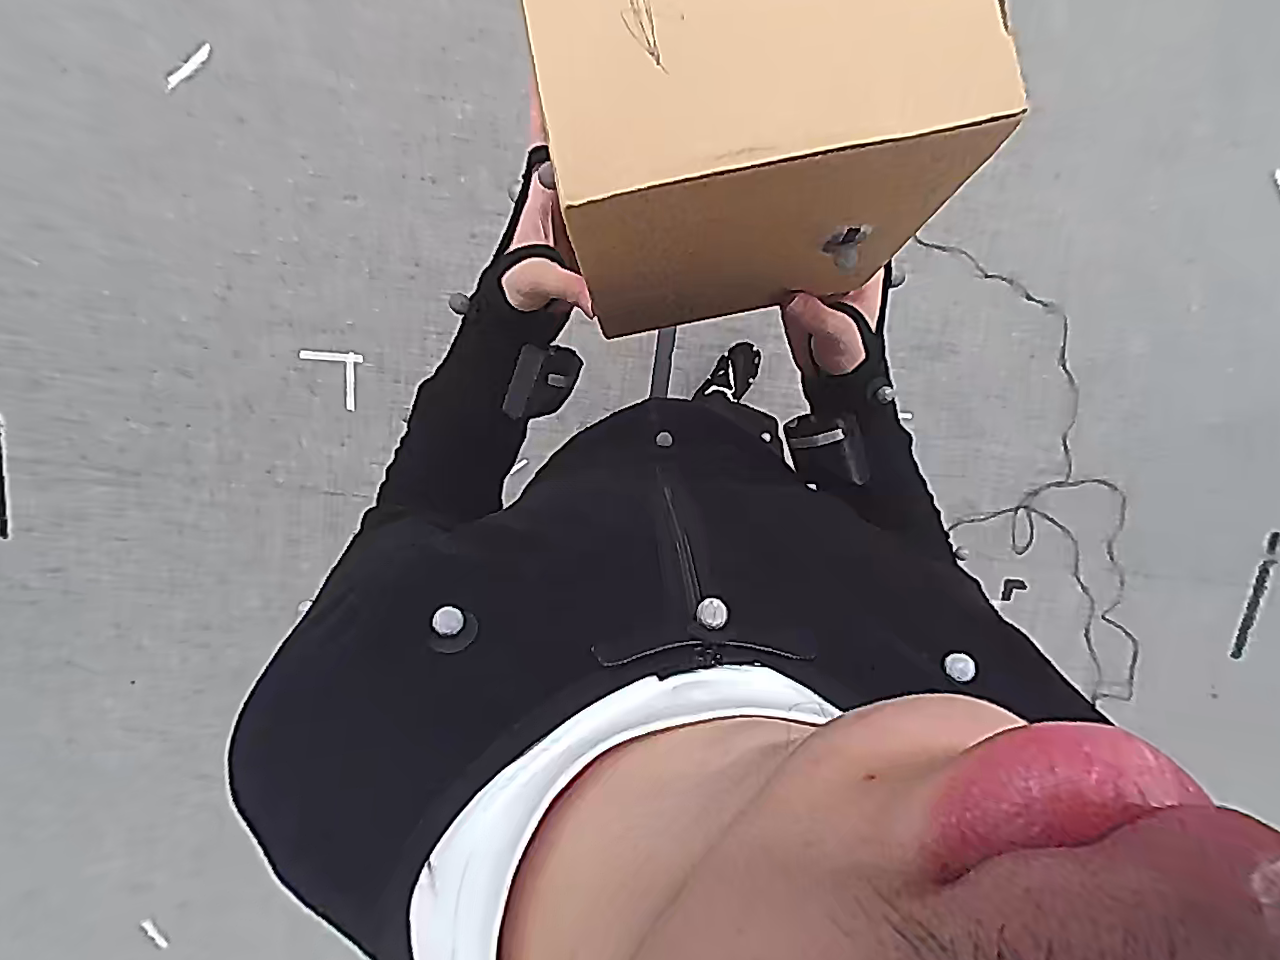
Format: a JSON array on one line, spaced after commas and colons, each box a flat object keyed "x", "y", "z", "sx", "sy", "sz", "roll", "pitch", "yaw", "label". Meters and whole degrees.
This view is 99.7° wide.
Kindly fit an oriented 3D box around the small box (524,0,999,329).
[{"x": 0.042, "y": -0.198, "z": 0.292, "sx": 0.179, "sy": 0.176, "sz": 0.168, "roll": -11, "pitch": 87, "yaw": 2, "label": "small box"}]
